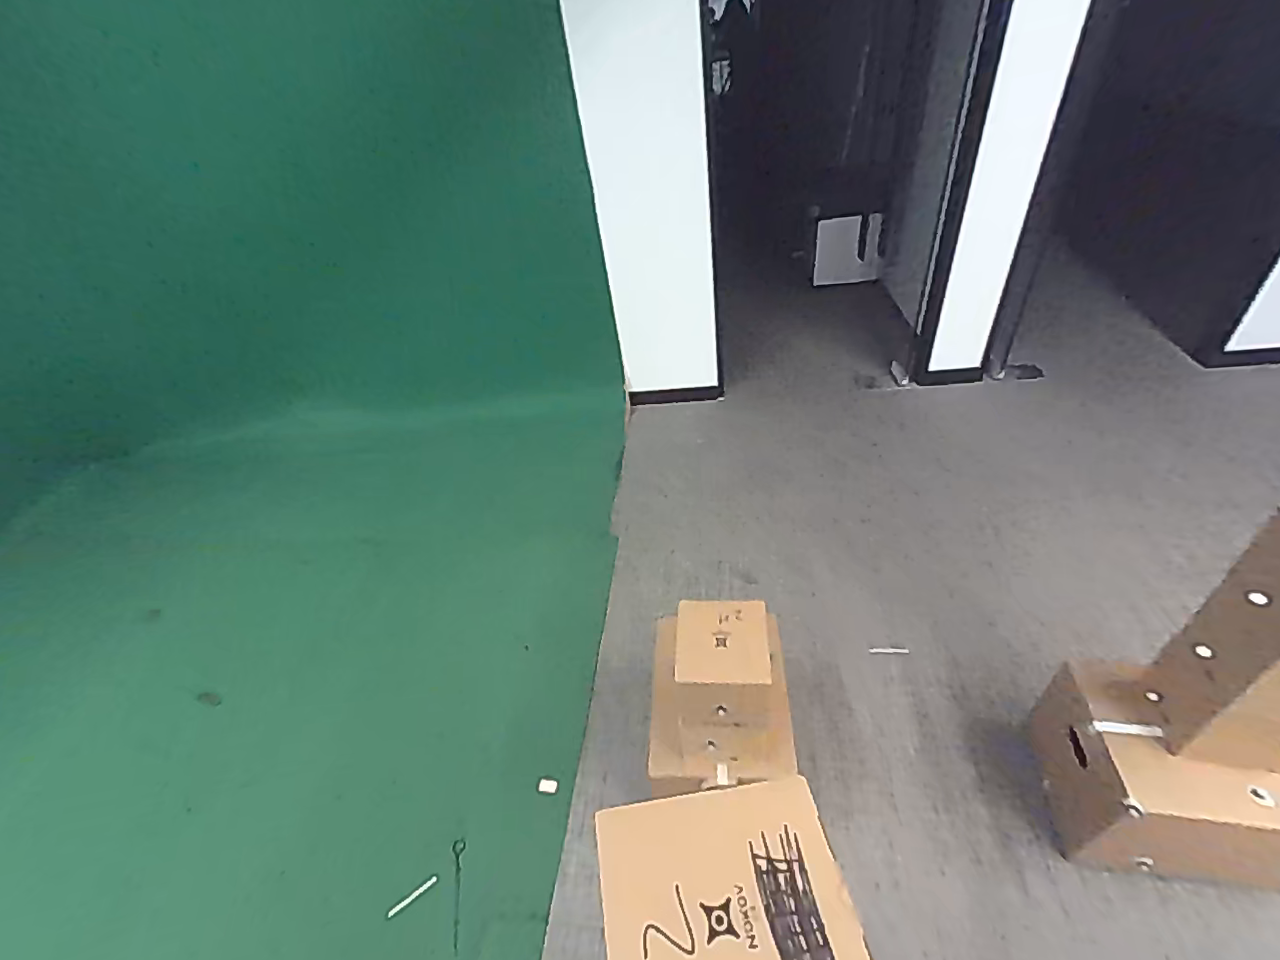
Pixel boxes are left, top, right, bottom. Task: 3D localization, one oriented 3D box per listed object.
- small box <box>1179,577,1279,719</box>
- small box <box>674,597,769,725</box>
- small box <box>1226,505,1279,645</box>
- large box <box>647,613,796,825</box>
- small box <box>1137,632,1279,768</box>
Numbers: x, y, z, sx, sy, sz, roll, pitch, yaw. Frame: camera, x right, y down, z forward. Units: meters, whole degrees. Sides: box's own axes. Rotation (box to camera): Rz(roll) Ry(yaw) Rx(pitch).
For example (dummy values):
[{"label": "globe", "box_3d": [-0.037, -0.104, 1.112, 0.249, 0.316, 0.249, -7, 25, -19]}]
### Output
[{"label": "small box", "box_3d": [1.083, 0.289, 0.909, 0.179, 0.176, 0.168, 4, 40, 17]}, {"label": "small box", "box_3d": [0.159, 0.345, 1.031, 0.168, 0.176, 0.179, -1, 40, 10]}, {"label": "small box", "box_3d": [1.061, 0.160, 0.809, 0.168, 0.176, 0.179, 4, 41, 16]}, {"label": "large box", "box_3d": [0.201, 0.596, 1.363, 0.320, 0.320, 0.408, -3, 40, 8]}, {"label": "small box", "box_3d": [1.102, 0.413, 1.015, 0.179, 0.176, 0.168, 4, 40, 16]}]
